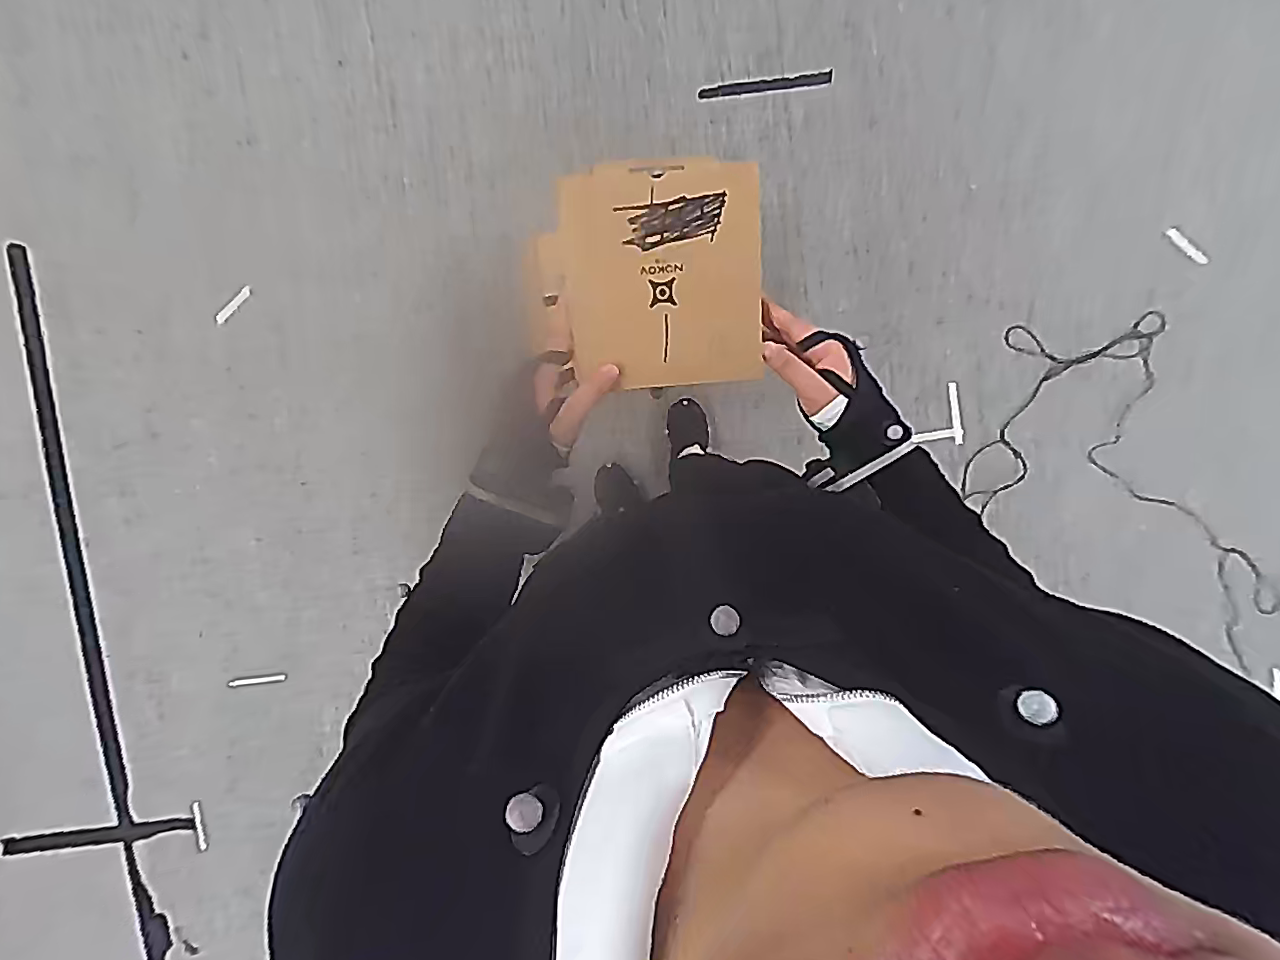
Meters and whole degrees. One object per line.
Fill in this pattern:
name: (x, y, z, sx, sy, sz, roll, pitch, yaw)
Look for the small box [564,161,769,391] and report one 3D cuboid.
small box: (0.021, -0.181, 0.524, 0.168, 0.176, 0.179, -4, 103, -1)
